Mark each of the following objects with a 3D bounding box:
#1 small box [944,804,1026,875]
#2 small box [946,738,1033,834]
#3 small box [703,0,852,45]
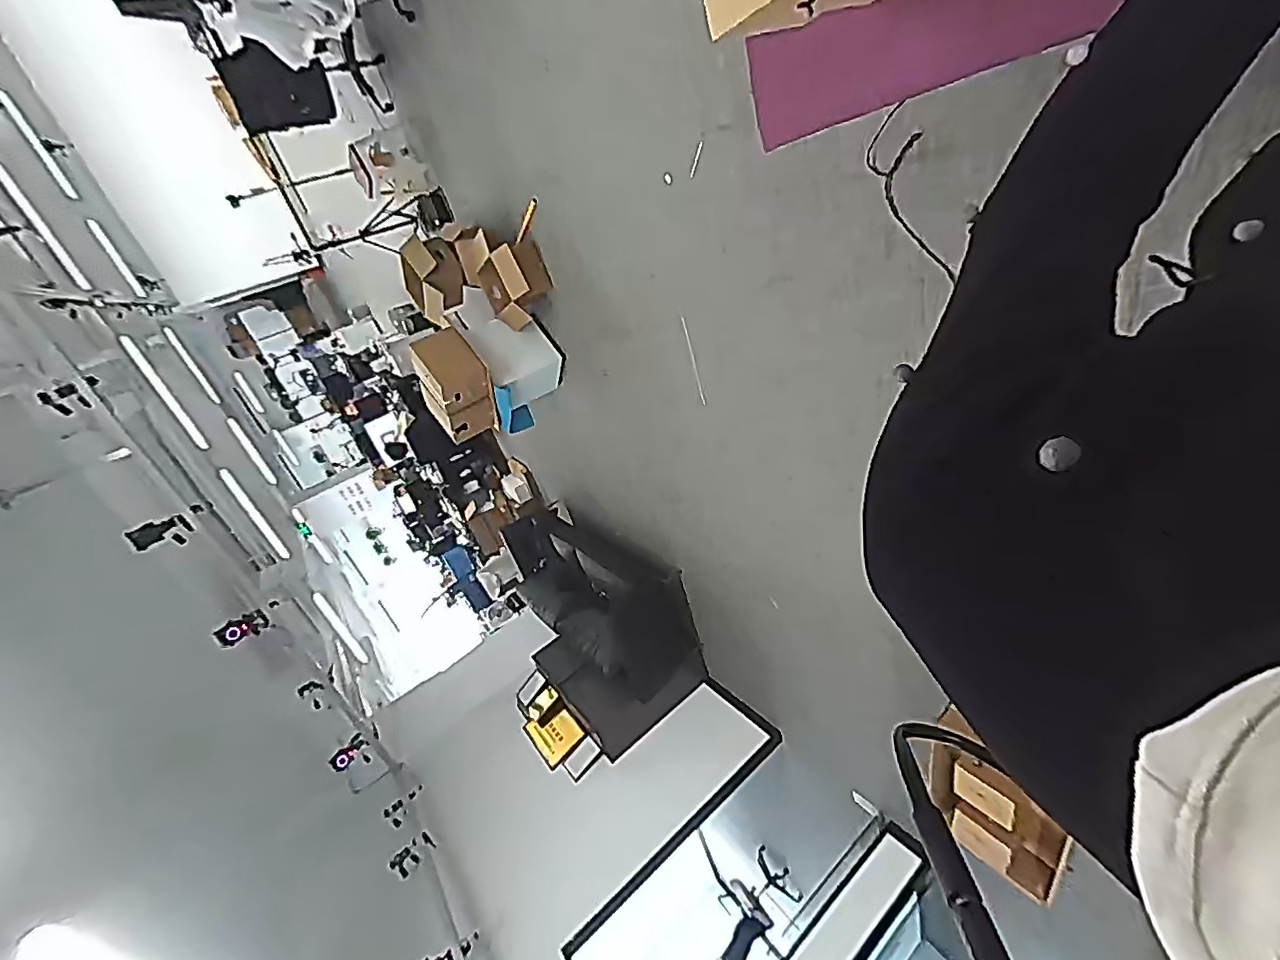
[{"bbox_3d":[1.174,1.179,1.840,0.179,0.176,0.168,28,141,47],"label":"small box"},{"bbox_3d":[1.102,0.955,1.712,0.179,0.176,0.168,23,139,49],"label":"small box"},{"bbox_3d":[0.170,-0.593,0.558,0.179,0.176,0.168,19,134,53],"label":"small box"}]
